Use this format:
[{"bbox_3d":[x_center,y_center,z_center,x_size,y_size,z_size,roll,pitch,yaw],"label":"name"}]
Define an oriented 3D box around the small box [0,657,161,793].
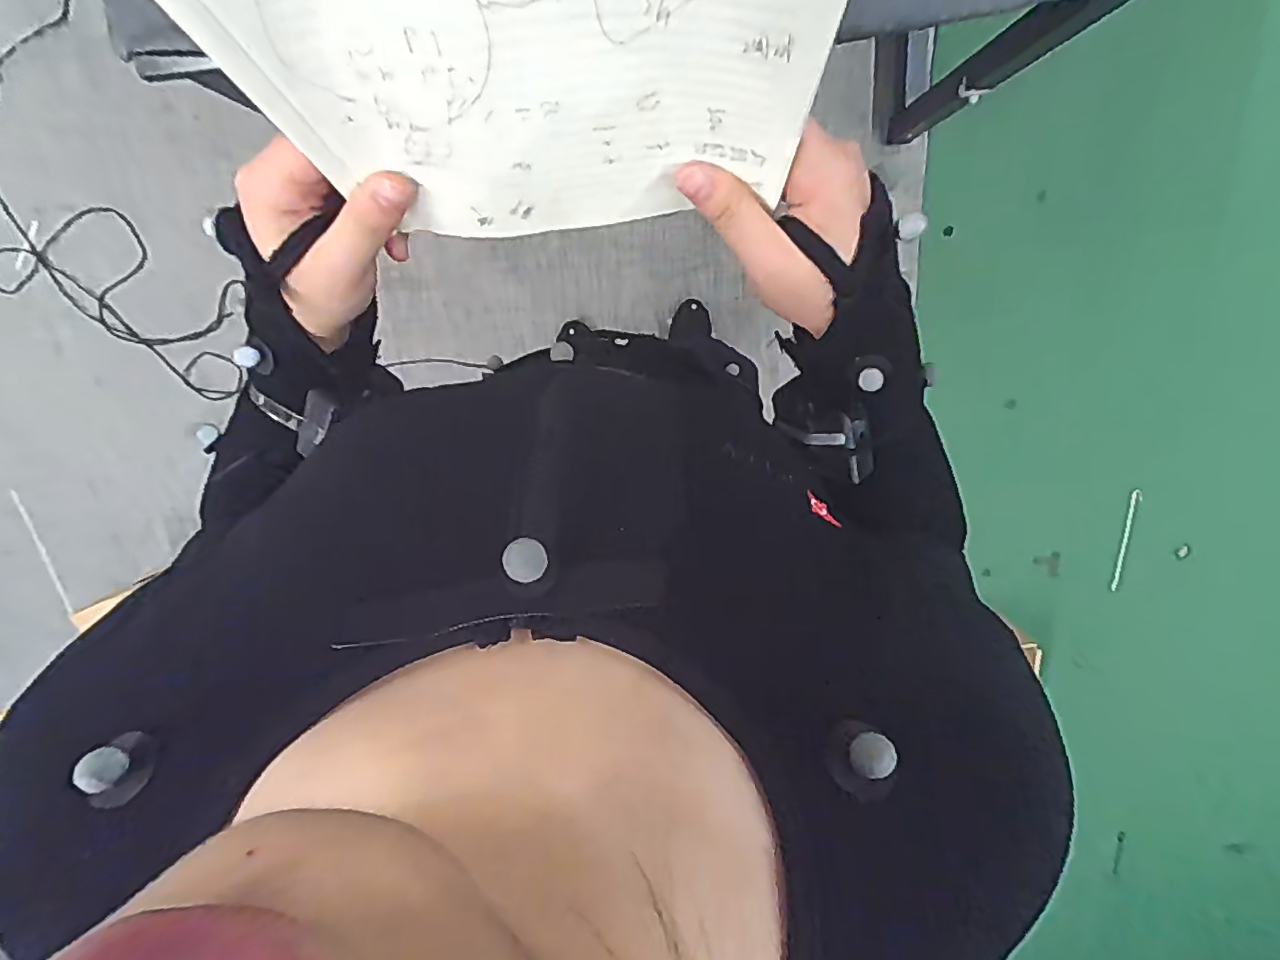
[{"bbox_3d":[-1.169,0.492,1.116,0.168,0.176,0.179,-21,107,6],"label":"small box"}]
